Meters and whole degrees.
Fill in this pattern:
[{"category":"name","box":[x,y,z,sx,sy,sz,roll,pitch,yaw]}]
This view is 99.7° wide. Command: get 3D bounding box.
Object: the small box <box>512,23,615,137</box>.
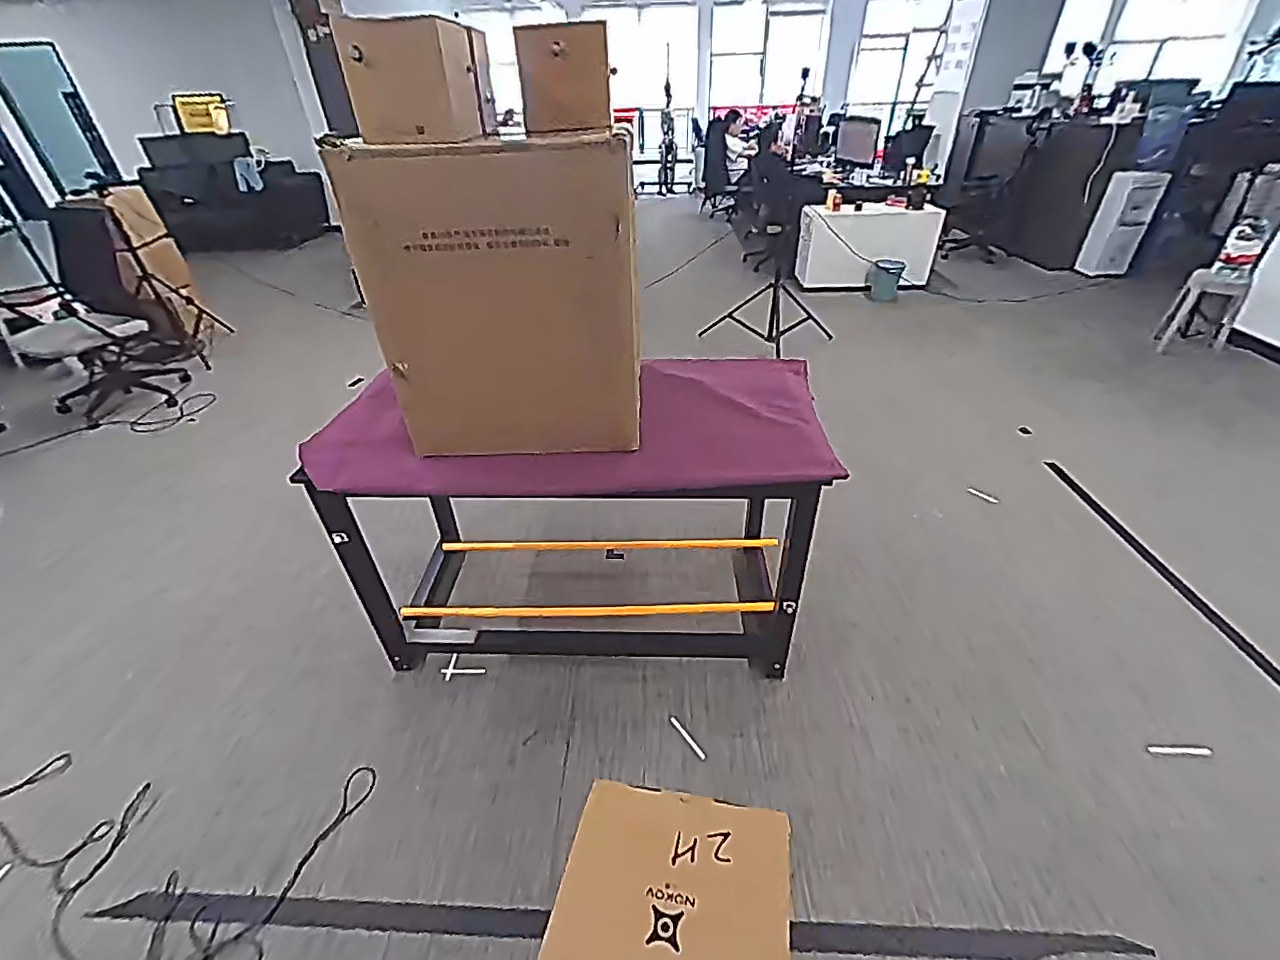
[{"category":"small box","box":[-0.144,-0.804,1.091,0.179,0.176,0.168,-3,36,1]}]
